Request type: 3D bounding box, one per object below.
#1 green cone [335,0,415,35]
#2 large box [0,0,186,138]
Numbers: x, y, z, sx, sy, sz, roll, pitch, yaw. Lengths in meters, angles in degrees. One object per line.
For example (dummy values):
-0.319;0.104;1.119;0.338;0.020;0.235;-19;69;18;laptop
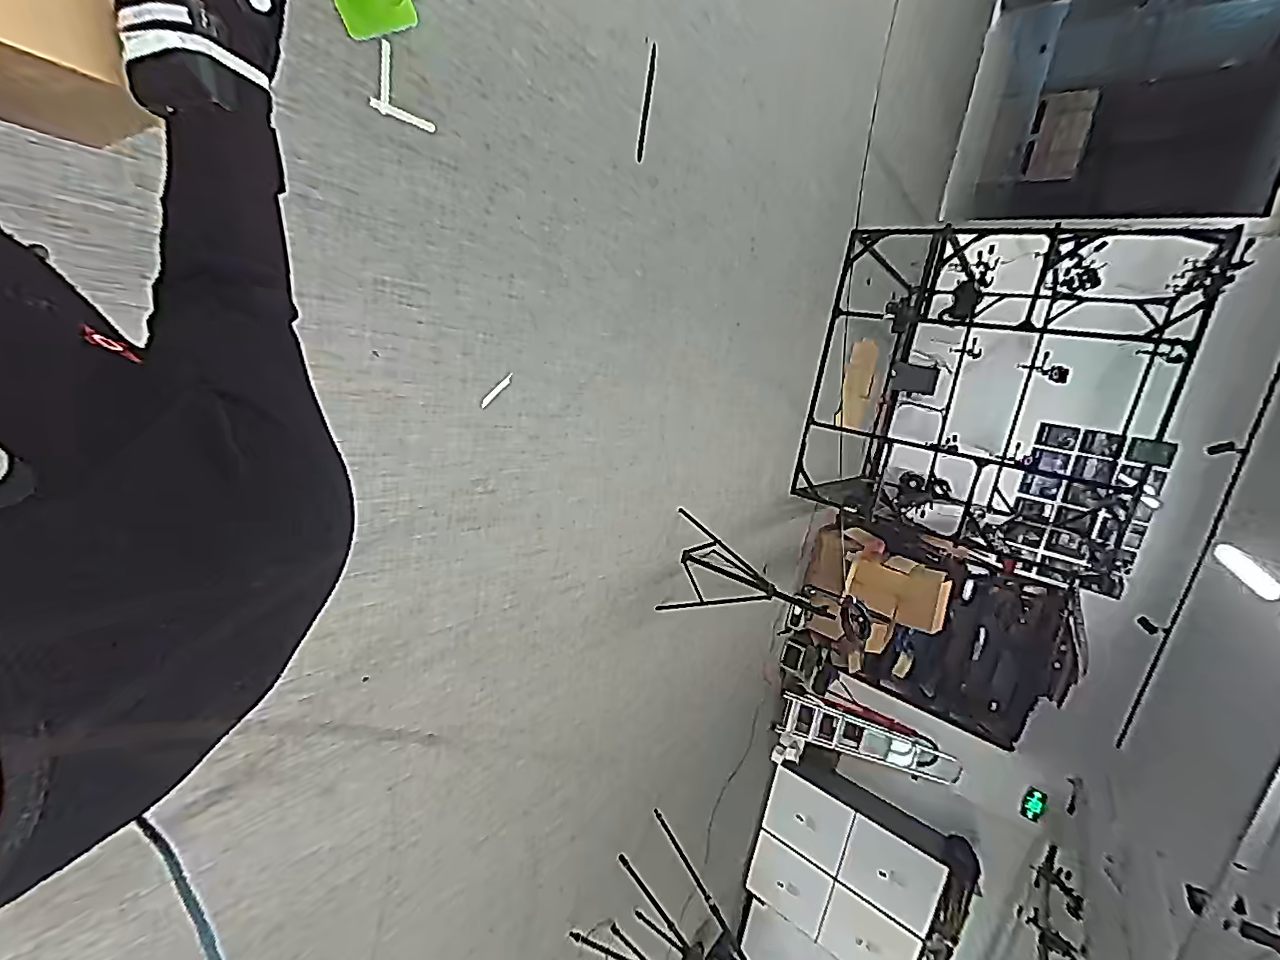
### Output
-0.497;-1.114;1.142;0.202;0.368;0.200;-49;141;-31;green cone
-0.555;-0.451;0.298;0.408;0.320;0.320;-7;111;-54;large box
